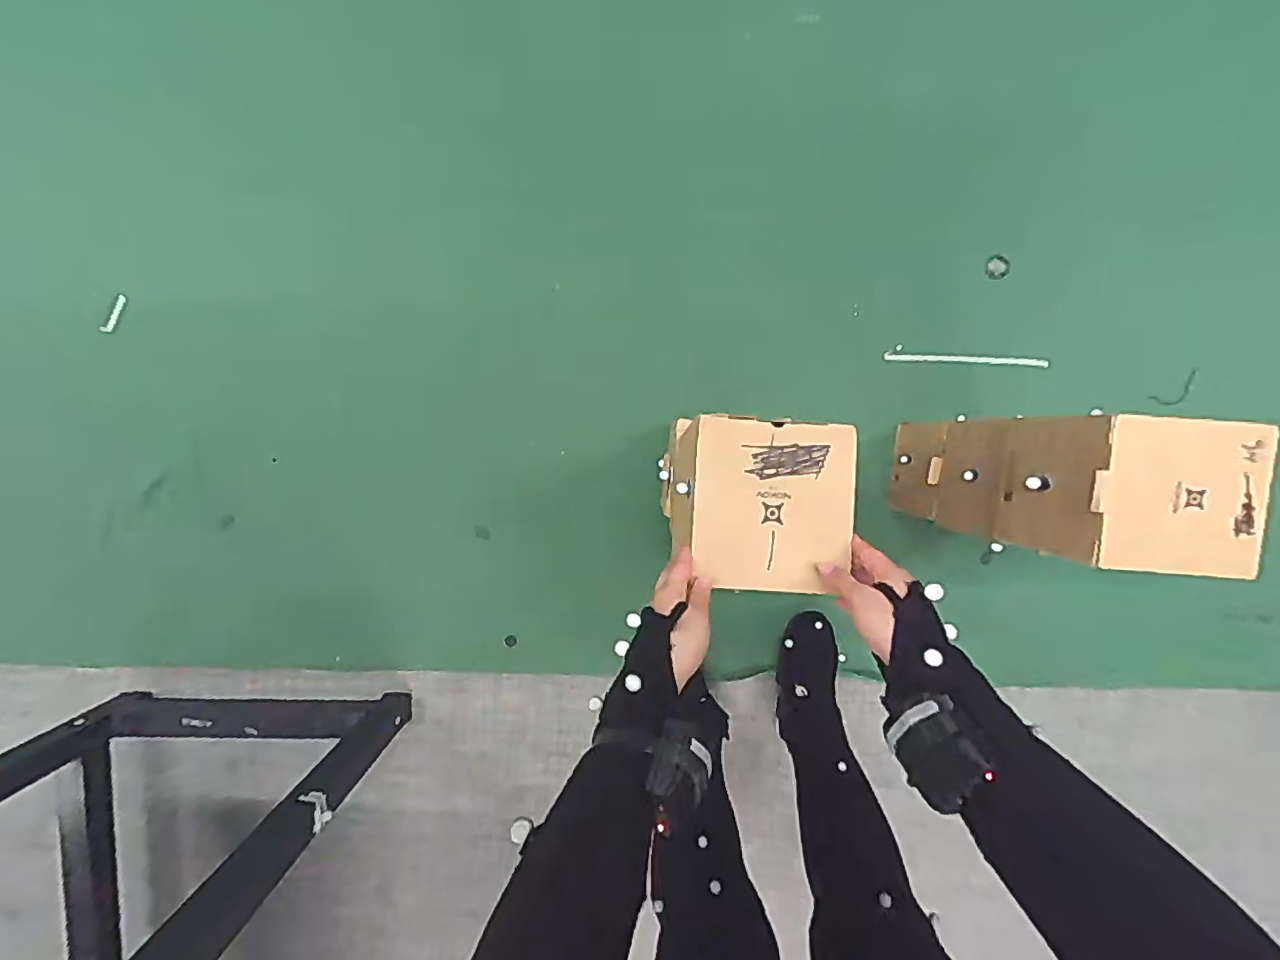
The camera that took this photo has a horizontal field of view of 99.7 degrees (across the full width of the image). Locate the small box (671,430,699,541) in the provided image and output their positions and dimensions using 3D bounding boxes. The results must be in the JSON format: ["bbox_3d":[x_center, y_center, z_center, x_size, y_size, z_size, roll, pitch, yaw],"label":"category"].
[{"bbox_3d":[0.139,0.009,0.806,0.179,0.176,0.168,-1,94,1],"label":"small box"}]

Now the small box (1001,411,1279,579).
[{"bbox_3d":[0.572,0.012,0.644,0.179,0.176,0.168,4,94,0],"label":"small box"}]

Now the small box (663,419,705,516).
[{"bbox_3d":[0.140,-0.015,0.967,0.179,0.176,0.168,8,94,-1],"label":"small box"}]

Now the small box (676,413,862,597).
[{"bbox_3d":[0.134,0.031,0.617,0.168,0.176,0.179,4,86,-2],"label":"small box"}]

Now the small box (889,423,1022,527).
[{"bbox_3d":[0.582,-0.013,0.971,0.179,0.176,0.168,6,95,-1],"label":"small box"}]
